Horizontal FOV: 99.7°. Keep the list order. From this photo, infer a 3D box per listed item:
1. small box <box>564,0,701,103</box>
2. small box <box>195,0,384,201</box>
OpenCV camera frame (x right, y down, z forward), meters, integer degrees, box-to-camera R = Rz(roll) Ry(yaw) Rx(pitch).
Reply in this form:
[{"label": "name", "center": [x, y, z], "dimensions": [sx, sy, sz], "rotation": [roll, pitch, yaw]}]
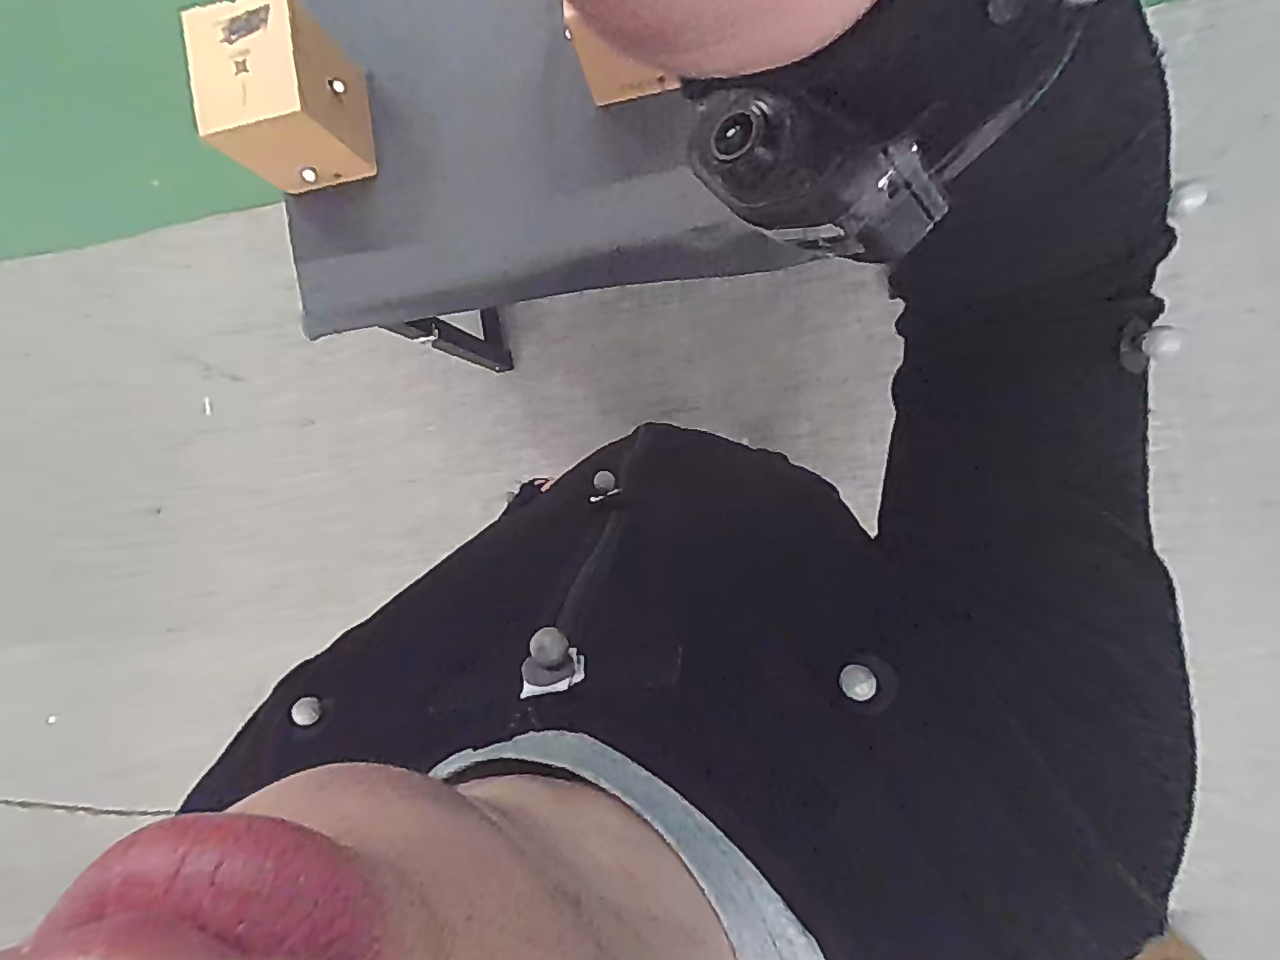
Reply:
[{"label": "small box", "center": [-0.009, -0.660, 0.744], "dimensions": [0.168, 0.176, 0.179], "rotation": [-8, 90, 9]}, {"label": "small box", "center": [-0.524, -0.566, 0.830], "dimensions": [0.168, 0.176, 0.179], "rotation": [-8, 91, 10]}]
